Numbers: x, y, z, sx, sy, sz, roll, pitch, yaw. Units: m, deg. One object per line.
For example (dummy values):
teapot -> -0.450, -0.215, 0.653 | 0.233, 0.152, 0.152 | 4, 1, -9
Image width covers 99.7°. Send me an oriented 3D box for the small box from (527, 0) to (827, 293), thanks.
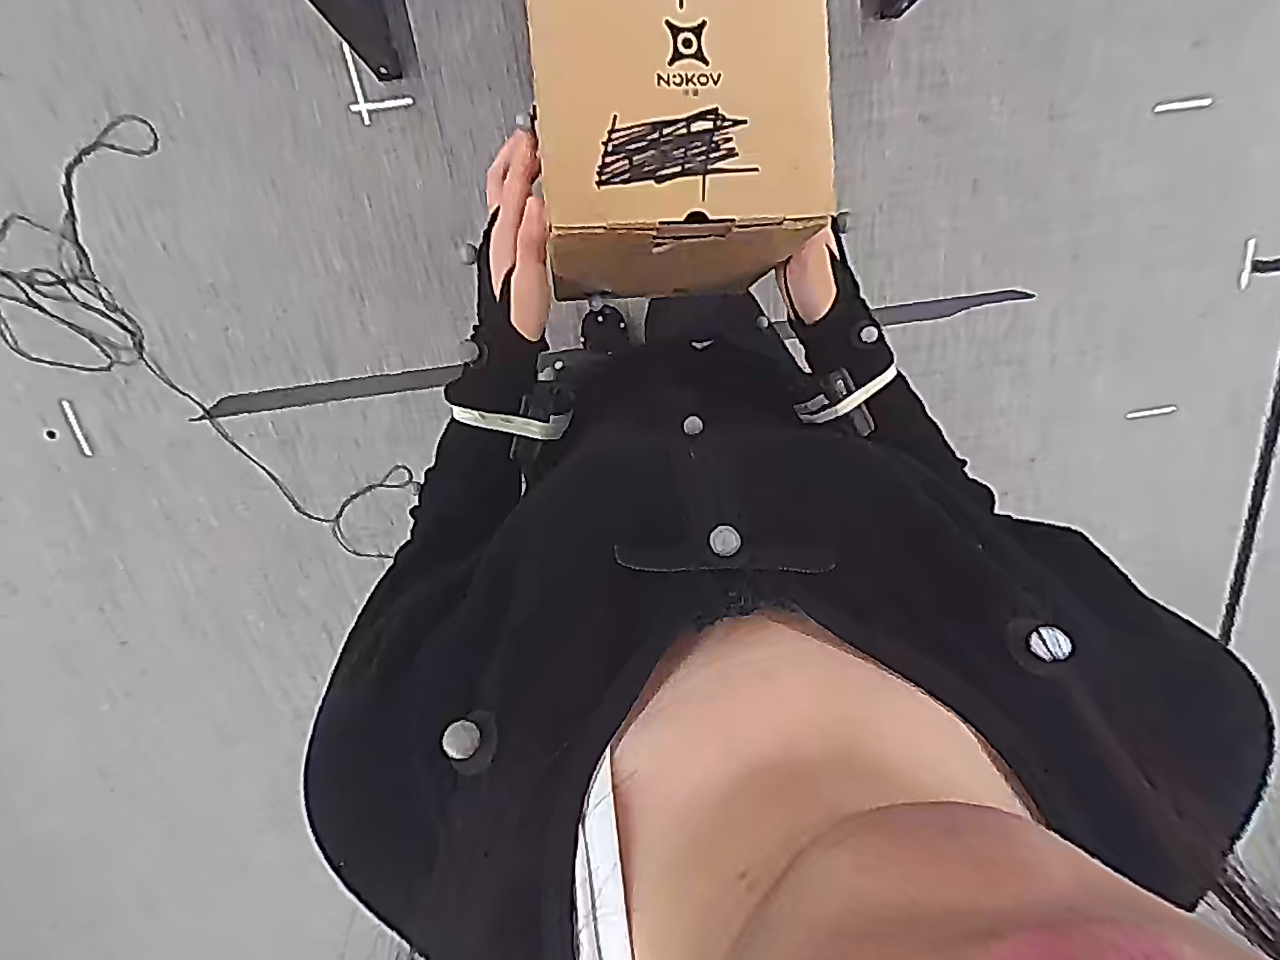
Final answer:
small box -> 0.014, -0.237, 0.377 | 0.168, 0.176, 0.179 | -5, 95, -7
